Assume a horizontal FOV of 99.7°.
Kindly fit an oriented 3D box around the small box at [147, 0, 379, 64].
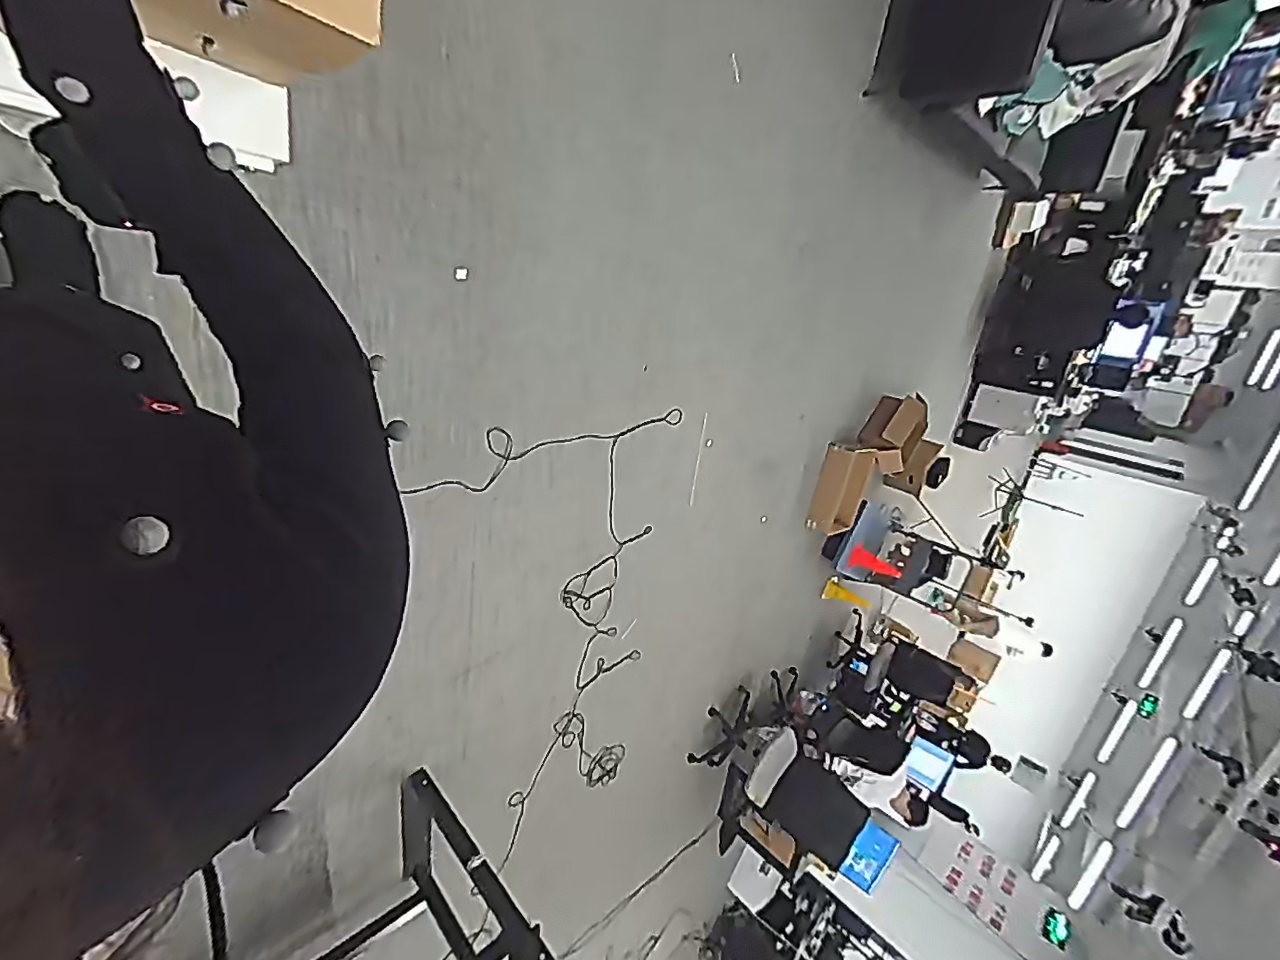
[{"bbox_3d":[-0.329,-0.474,0.438,0.179,0.176,0.168,-6,114,-46],"label":"small box"}]
